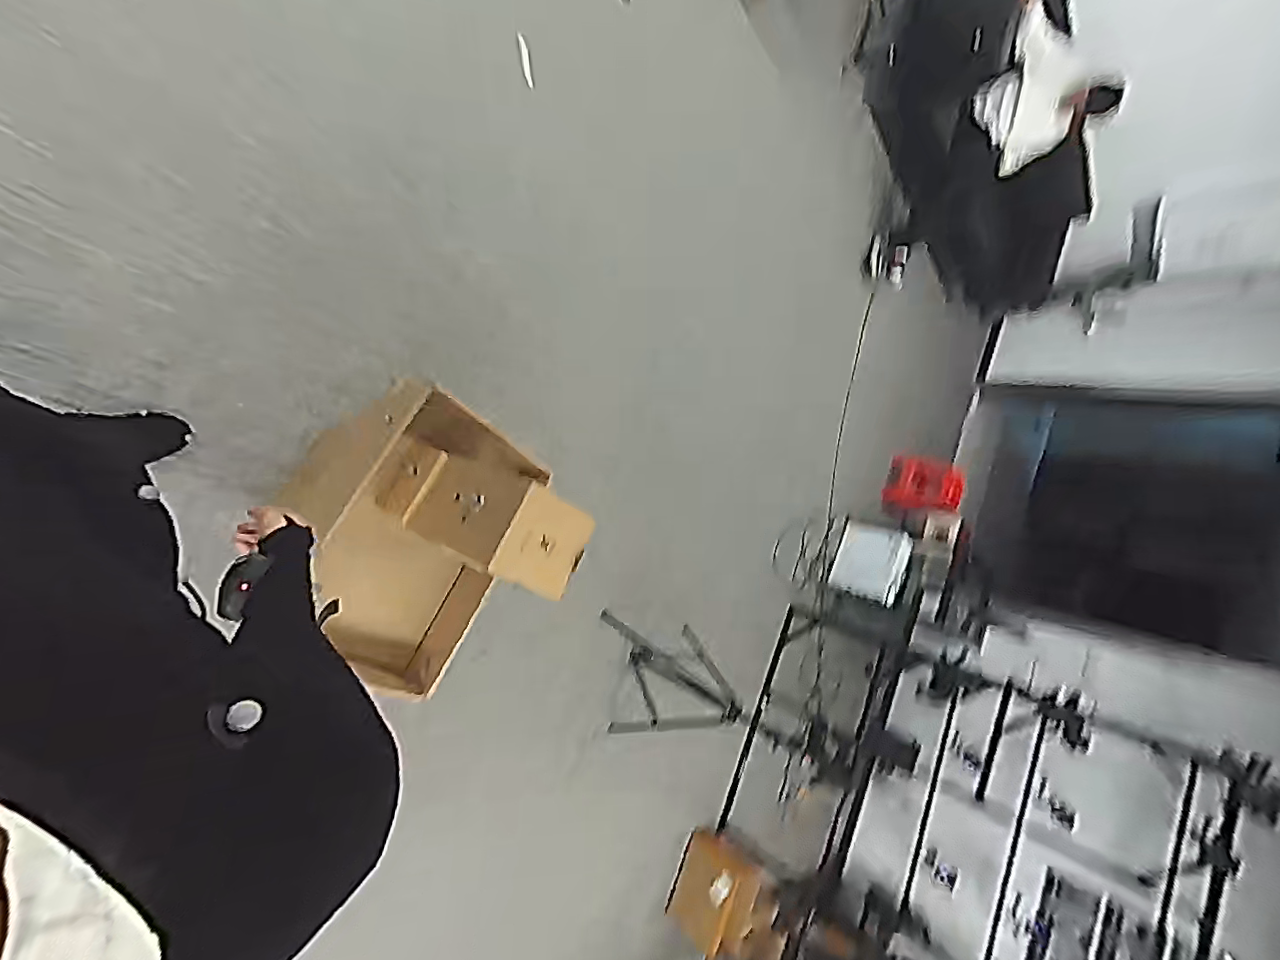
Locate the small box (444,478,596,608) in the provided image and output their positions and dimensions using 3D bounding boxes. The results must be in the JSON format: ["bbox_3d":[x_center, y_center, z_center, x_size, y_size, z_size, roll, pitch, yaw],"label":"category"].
[{"bbox_3d":[-0.221,0.111,0.998,0.179,0.176,0.168,39,71,-44],"label":"small box"}]

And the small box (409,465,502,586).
[{"bbox_3d":[-0.338,0.088,1.111,0.168,0.176,0.179,42,71,-43],"label":"small box"}]

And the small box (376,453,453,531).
[{"bbox_3d":[-0.456,0.052,1.220,0.179,0.176,0.168,40,72,-44],"label":"small box"}]
